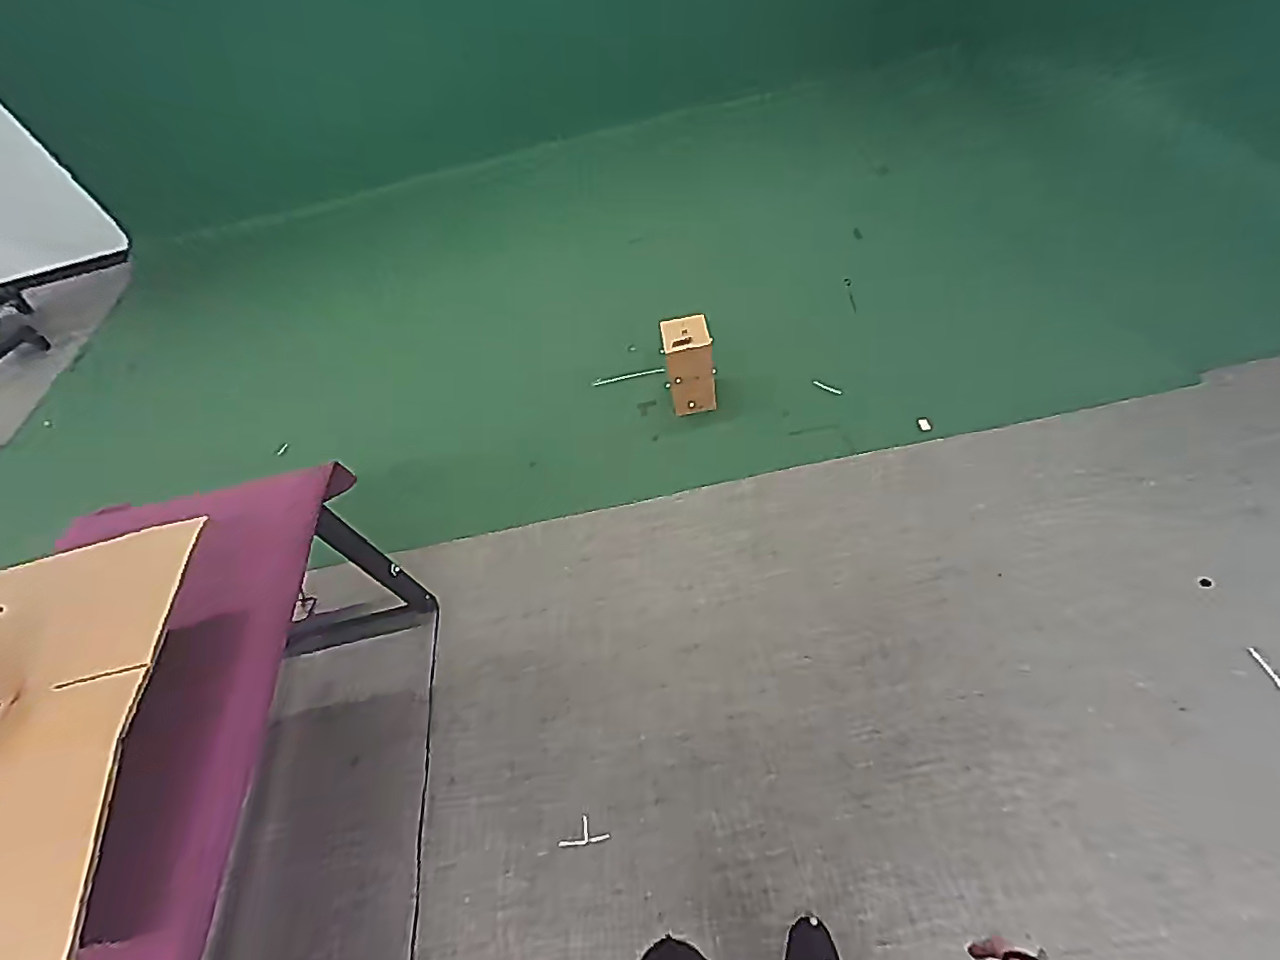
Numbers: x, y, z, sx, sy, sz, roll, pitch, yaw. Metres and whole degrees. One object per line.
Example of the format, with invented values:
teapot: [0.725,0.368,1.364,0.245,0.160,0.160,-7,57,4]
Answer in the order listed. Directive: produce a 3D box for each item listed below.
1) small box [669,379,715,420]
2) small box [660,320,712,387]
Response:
small box: [0.201,-0.366,2.142,0.168,0.176,0.179,-10,53,4]
small box: [0.173,-0.462,2.012,0.168,0.176,0.179,-9,53,4]
